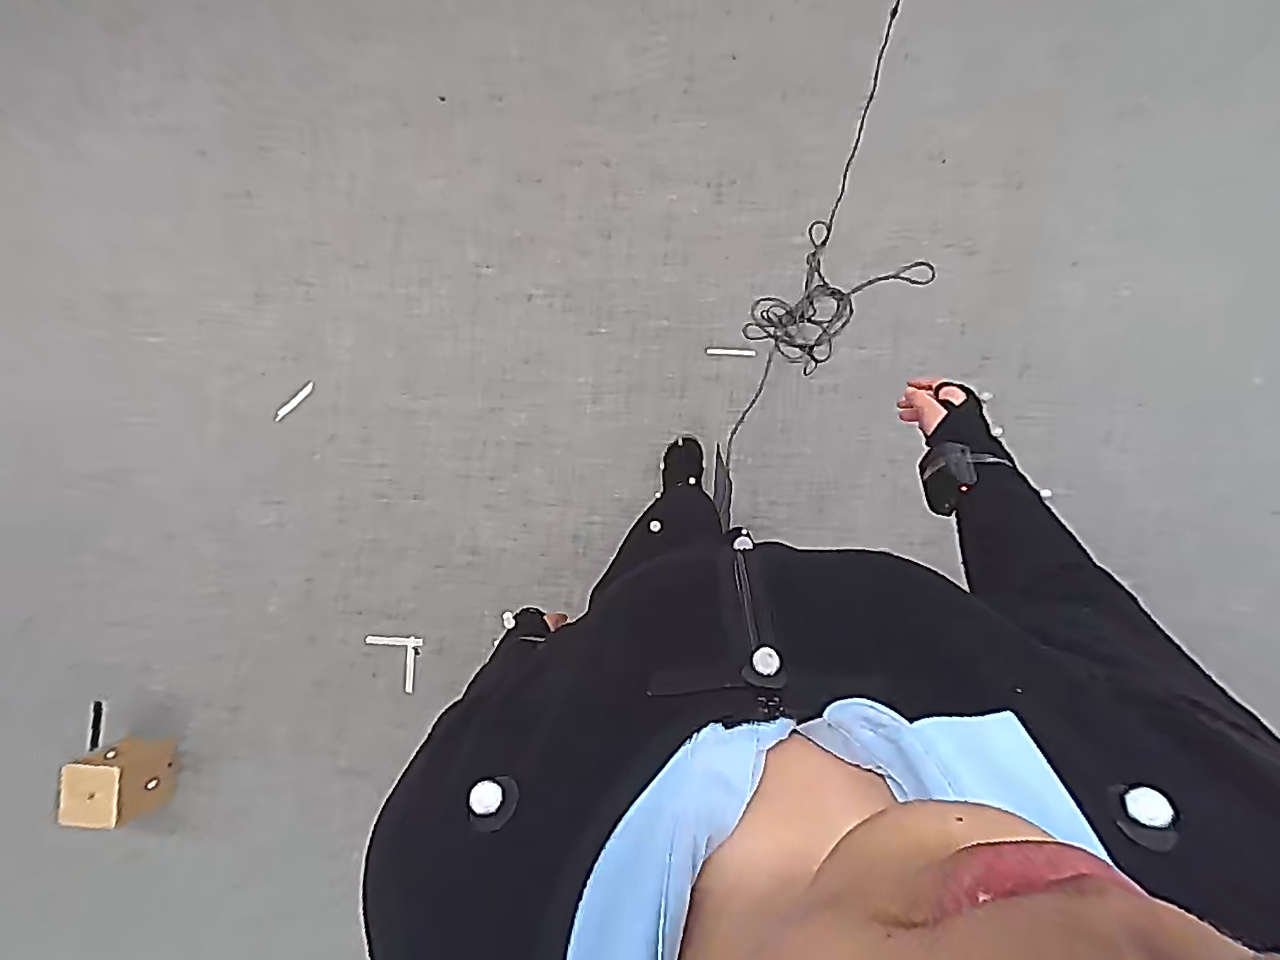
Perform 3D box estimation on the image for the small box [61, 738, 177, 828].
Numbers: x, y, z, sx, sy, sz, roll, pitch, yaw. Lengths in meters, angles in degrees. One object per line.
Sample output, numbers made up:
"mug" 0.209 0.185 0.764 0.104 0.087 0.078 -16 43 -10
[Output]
"small box" -1.477 0.855 1.542 0.179 0.176 0.168 1 86 6
